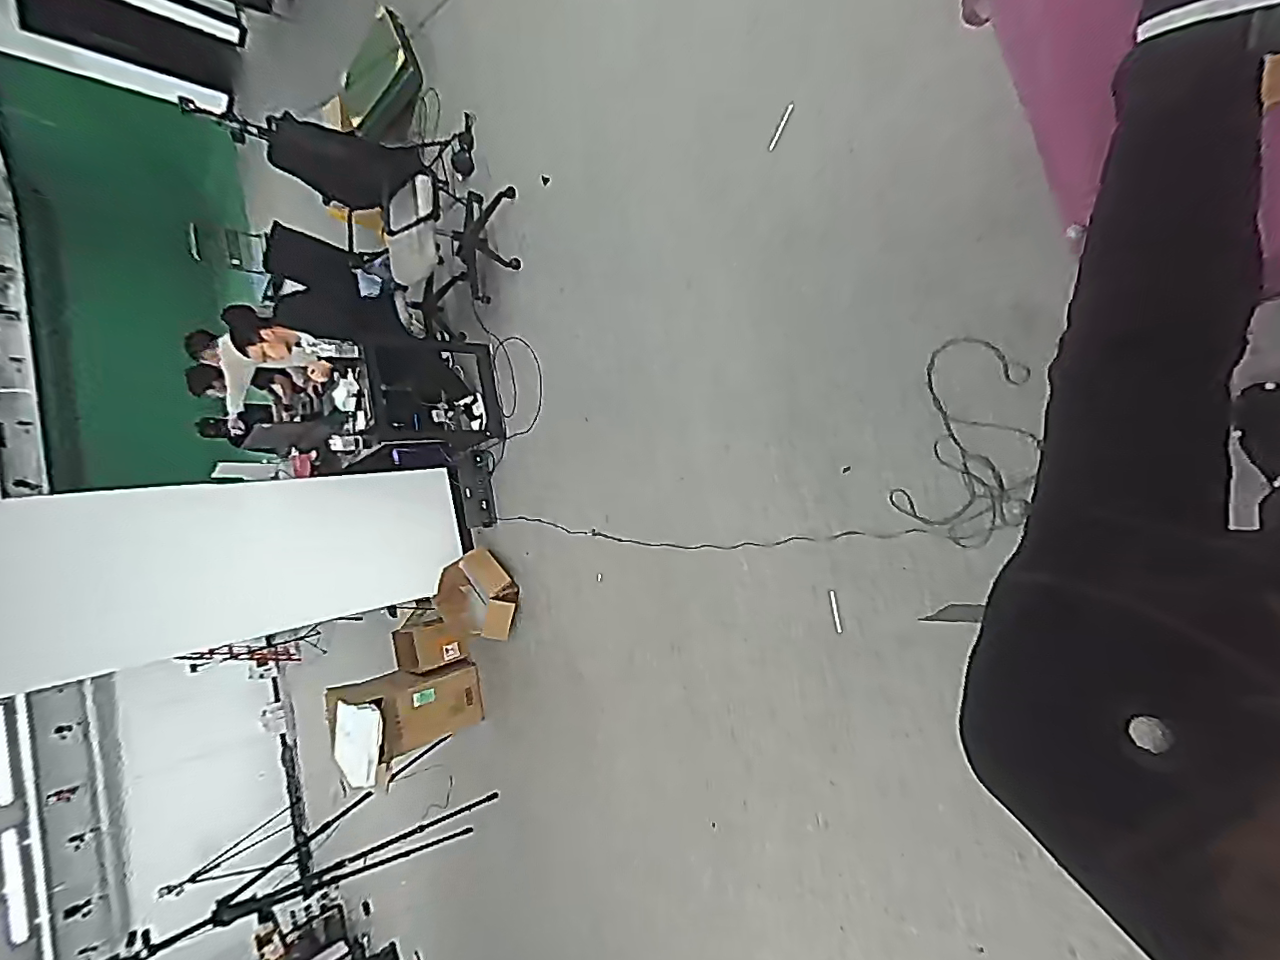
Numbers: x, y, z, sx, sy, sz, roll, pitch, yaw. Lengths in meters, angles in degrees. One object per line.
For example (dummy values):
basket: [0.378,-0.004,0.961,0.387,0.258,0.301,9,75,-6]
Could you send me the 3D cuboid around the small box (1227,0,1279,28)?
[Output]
small box: [0.533,-0.478,0.374,0.179,0.176,0.168,-3,93,46]
